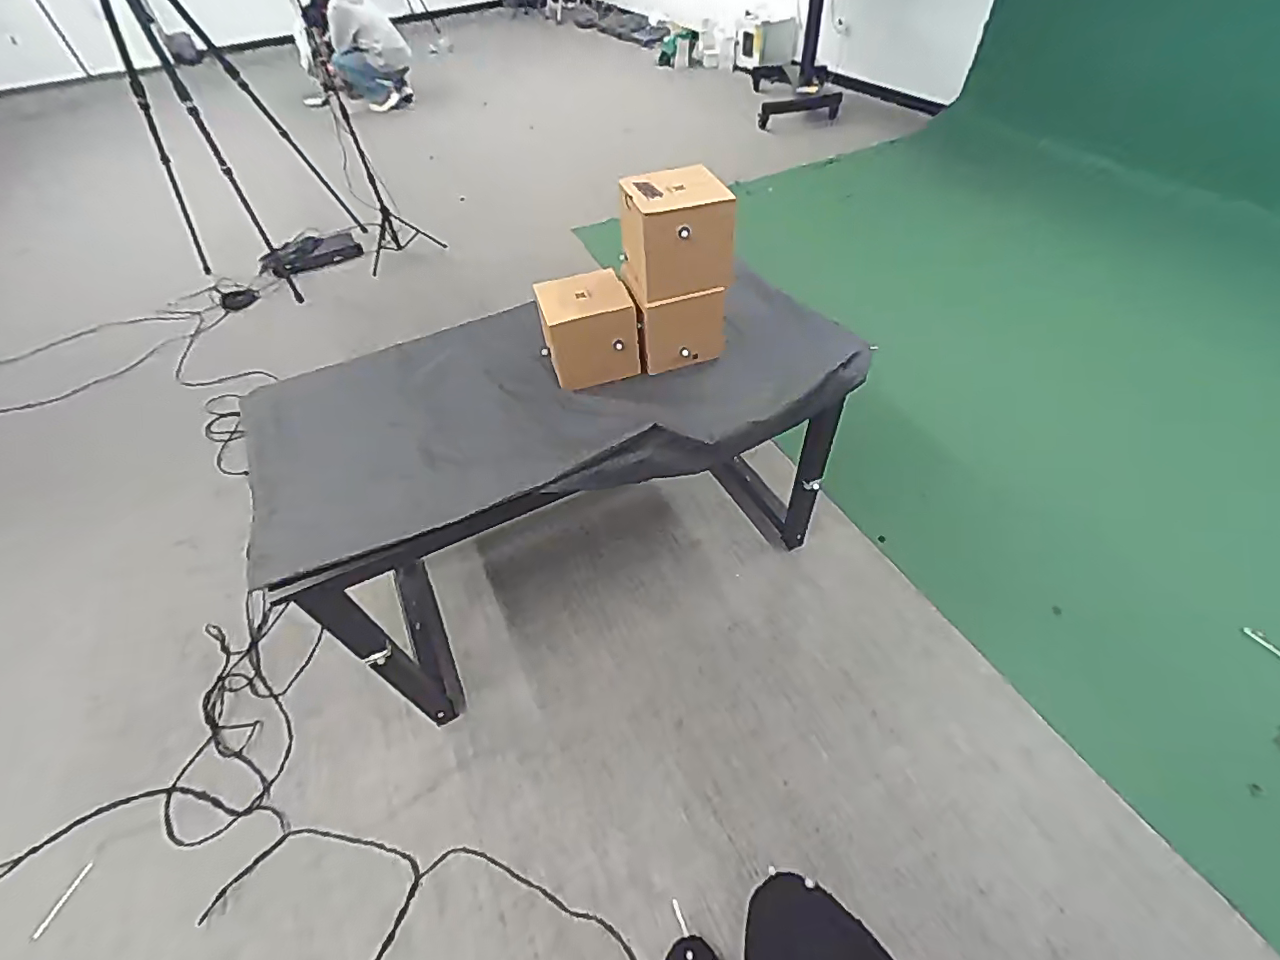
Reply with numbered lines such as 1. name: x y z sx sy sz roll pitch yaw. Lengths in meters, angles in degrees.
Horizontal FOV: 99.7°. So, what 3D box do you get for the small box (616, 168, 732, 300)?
1. small box: 0.065 -0.471 1.045 0.179 0.176 0.168 -15 51 -9
